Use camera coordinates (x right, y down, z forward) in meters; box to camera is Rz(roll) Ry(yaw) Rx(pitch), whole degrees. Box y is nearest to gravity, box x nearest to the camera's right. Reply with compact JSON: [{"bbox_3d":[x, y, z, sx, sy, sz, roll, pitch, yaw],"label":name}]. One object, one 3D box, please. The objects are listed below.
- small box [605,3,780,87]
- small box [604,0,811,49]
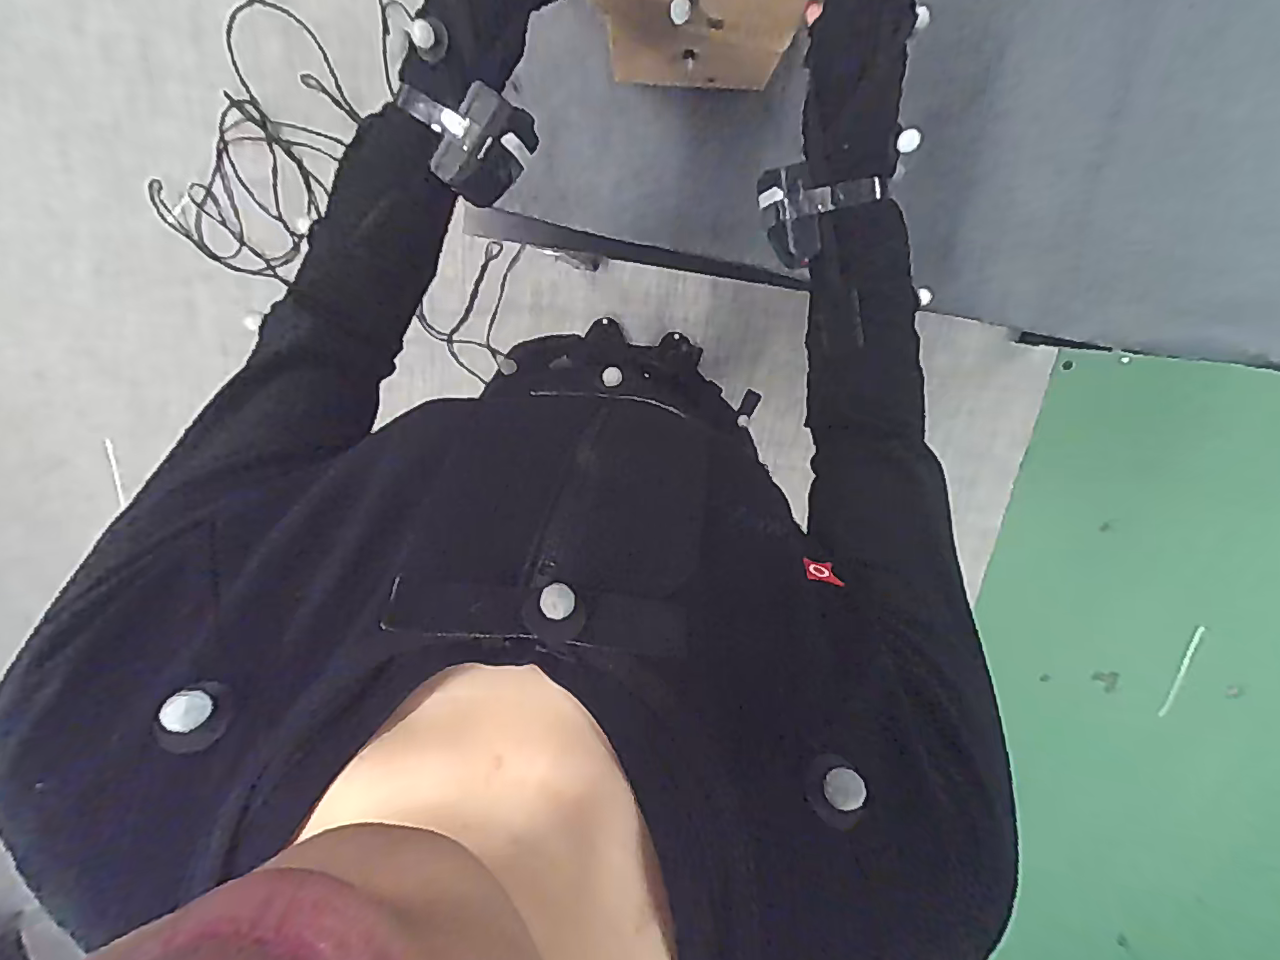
[{"bbox_3d":[0.059,-0.492,0.495,0.168,0.176,0.179,3,107,0],"label":"small box"},{"bbox_3d":[0.055,-0.422,0.335,0.168,0.176,0.179,11,106,-2],"label":"small box"}]
